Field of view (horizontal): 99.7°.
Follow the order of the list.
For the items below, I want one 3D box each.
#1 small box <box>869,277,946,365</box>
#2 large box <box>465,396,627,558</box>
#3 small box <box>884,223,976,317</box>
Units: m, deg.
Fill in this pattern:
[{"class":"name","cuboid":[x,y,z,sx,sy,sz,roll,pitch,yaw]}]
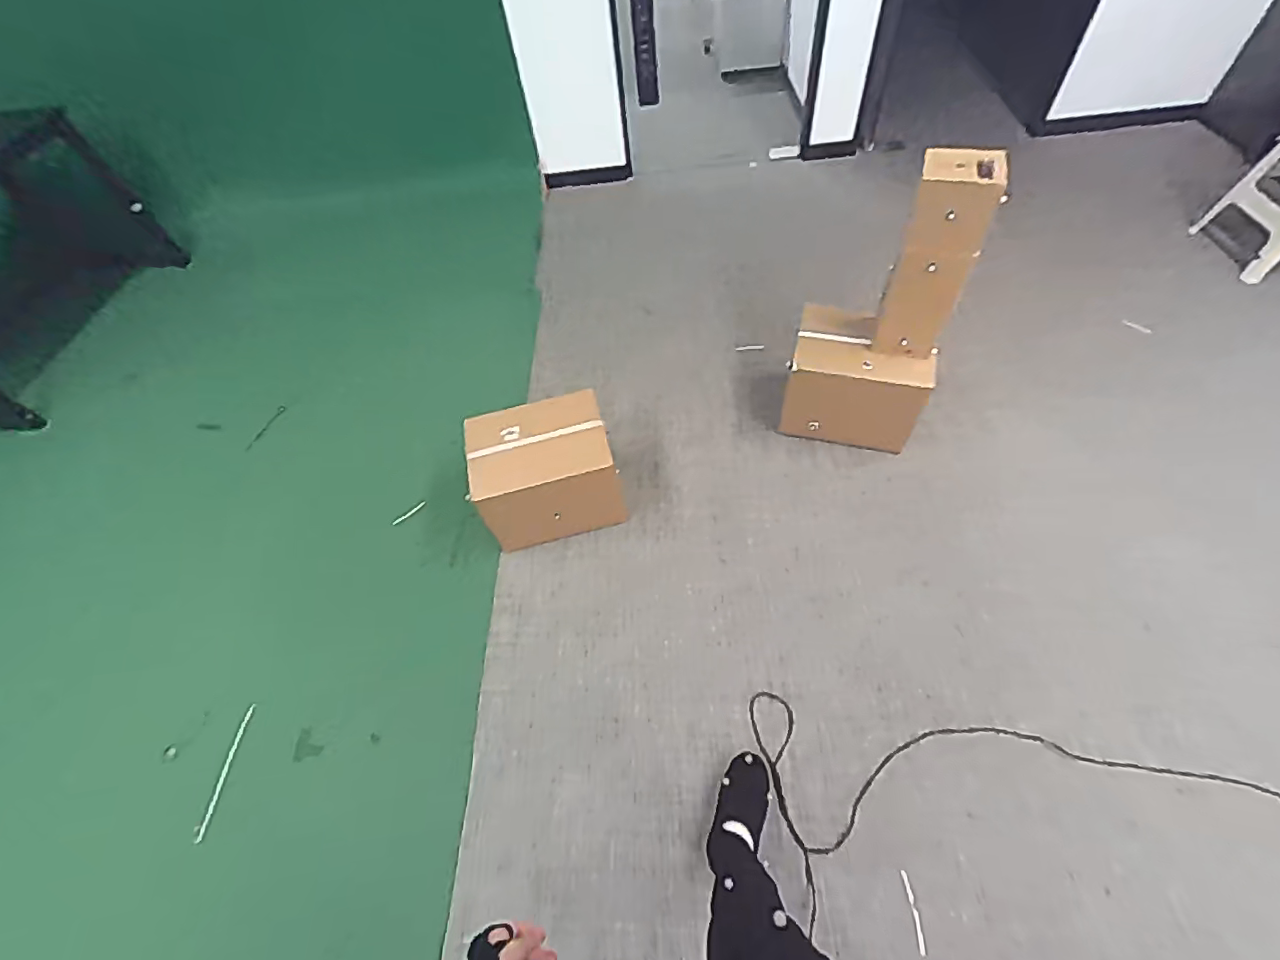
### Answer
[{"class":"small box","cuboid":[0.784,-0.467,1.589,0.168,0.176,0.179,12,55,15]},{"class":"large box","cuboid":[-0.284,-0.002,1.677,0.408,0.320,0.320,-15,54,-3]},{"class":"small box","cuboid":[0.779,-0.562,1.458,0.179,0.176,0.168,13,55,16]}]
